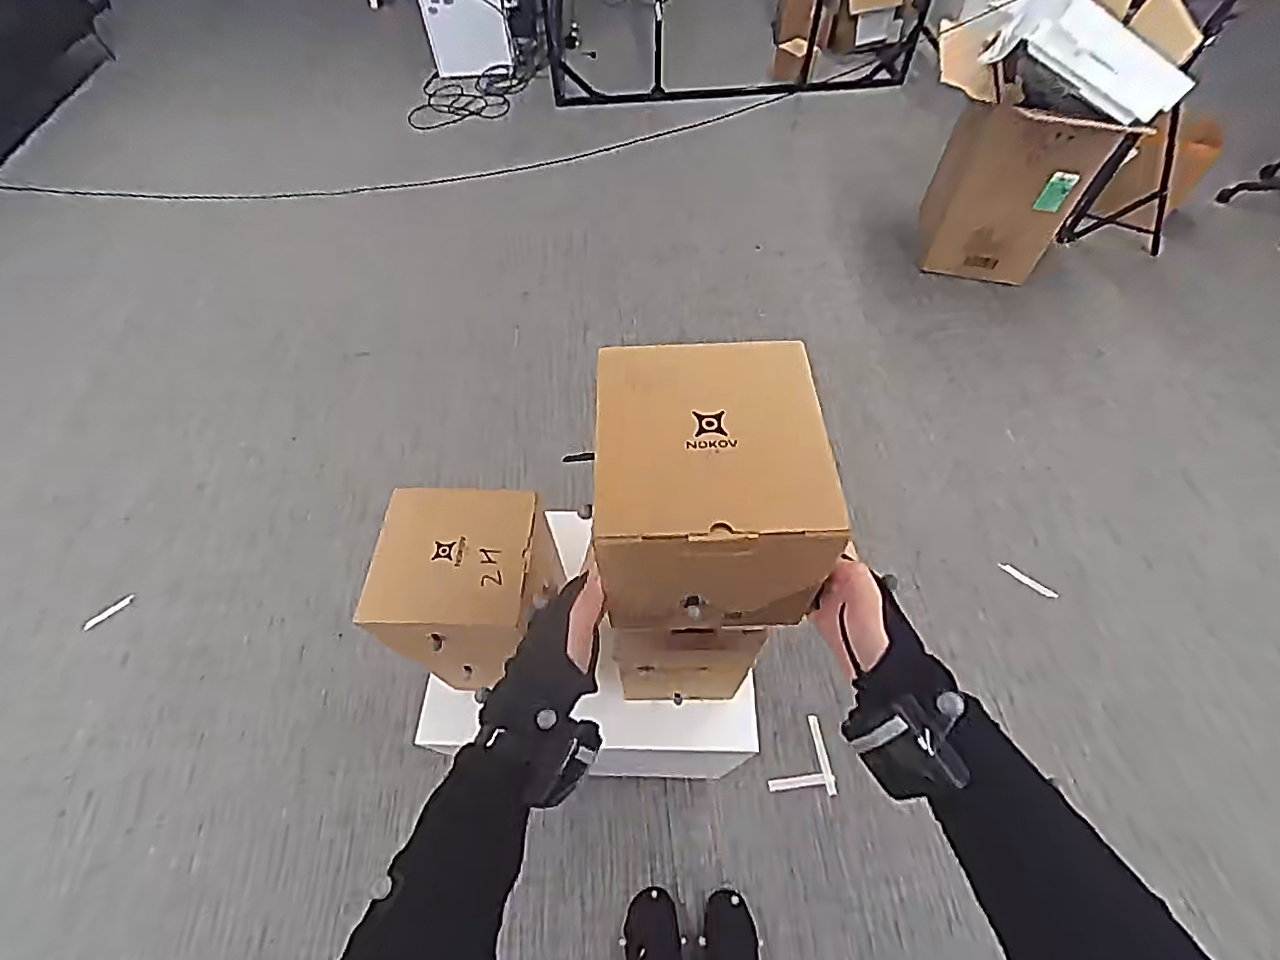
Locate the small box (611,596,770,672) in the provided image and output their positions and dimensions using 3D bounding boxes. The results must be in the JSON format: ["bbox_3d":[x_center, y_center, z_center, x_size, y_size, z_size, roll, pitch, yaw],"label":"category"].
[{"bbox_3d":[0.055,0.130,0.661,0.168,0.176,0.179,-1,57,1],"label":"small box"}]

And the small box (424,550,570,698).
[{"bbox_3d":[-0.202,0.213,0.809,0.168,0.176,0.179,1,57,2],"label":"small box"}]

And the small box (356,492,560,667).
[{"bbox_3d":[-0.205,0.128,0.668,0.179,0.176,0.168,1,58,2],"label":"small box"}]

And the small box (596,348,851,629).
[{"bbox_3d":[0.053,0.012,0.455,0.168,0.176,0.179,-2,56,1],"label":"small box"}]
